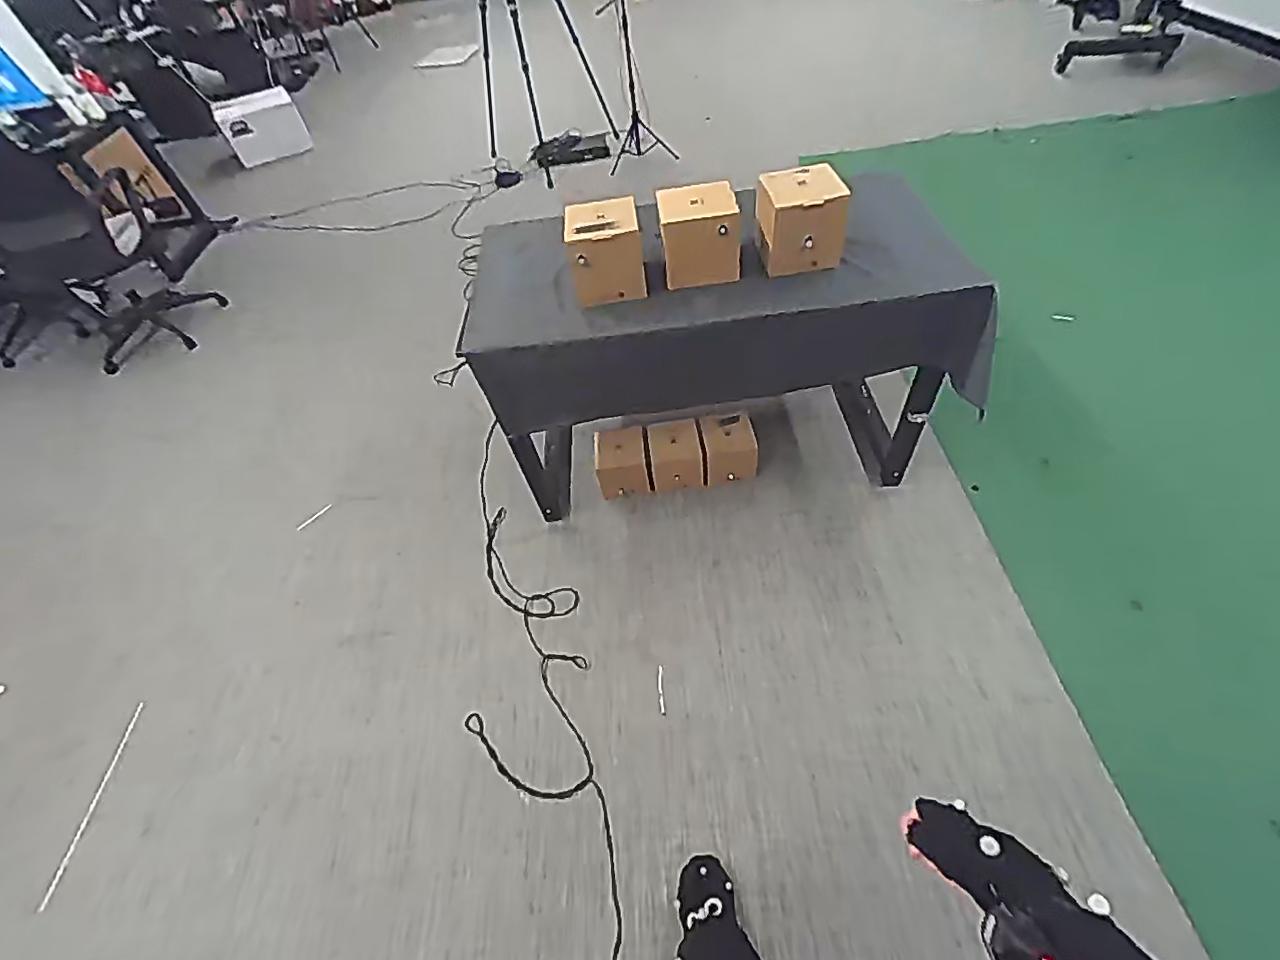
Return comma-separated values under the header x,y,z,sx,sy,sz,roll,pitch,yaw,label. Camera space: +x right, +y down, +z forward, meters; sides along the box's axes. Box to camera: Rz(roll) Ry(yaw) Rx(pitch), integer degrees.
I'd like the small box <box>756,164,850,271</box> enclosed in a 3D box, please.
x,y,z,sx,sy,sz,roll,pitch,yaw,label
0.375,-0.609,1.274,0.168,0.176,0.179,-8,52,2,small box
